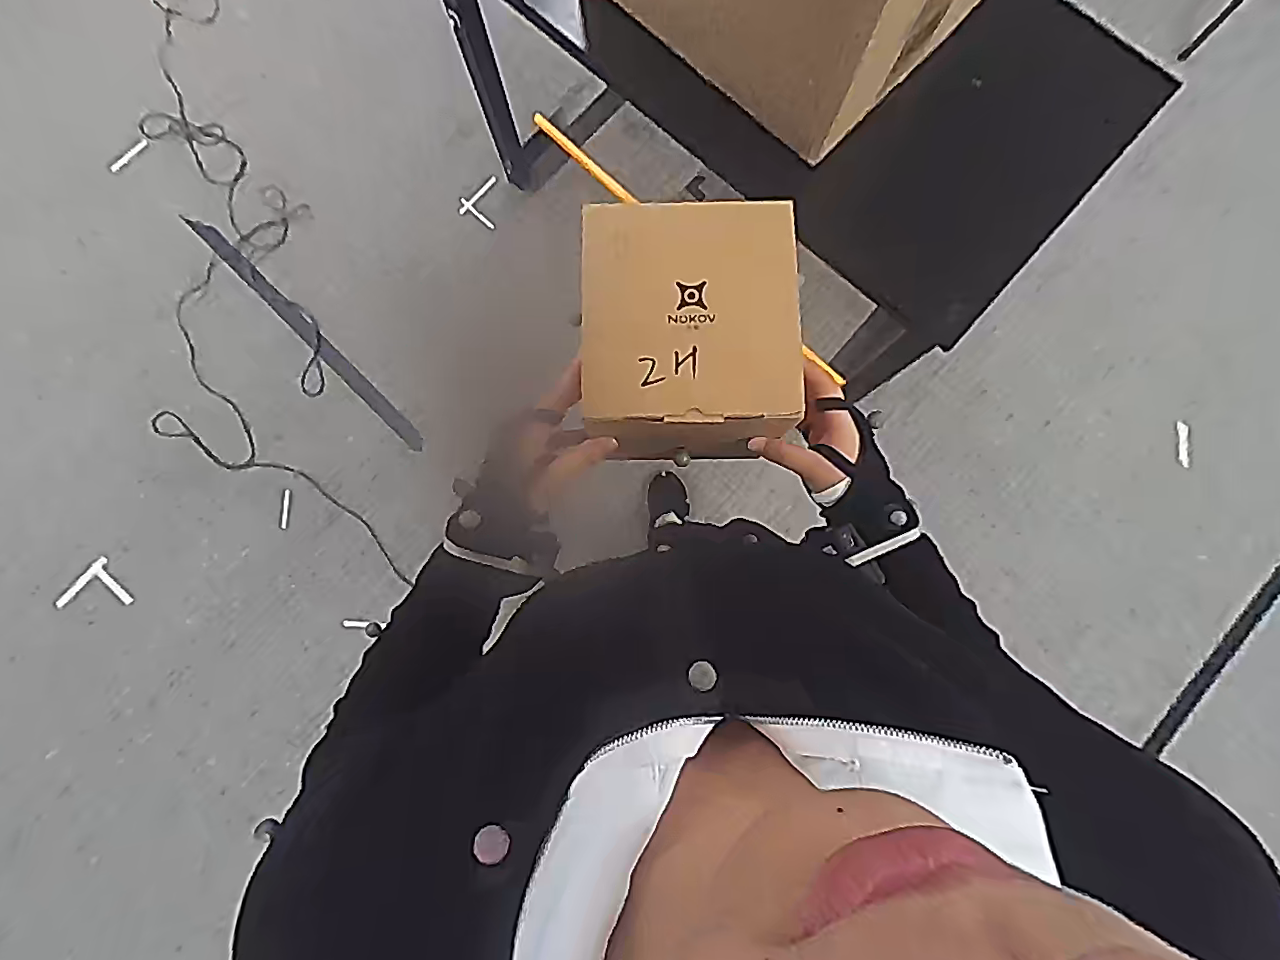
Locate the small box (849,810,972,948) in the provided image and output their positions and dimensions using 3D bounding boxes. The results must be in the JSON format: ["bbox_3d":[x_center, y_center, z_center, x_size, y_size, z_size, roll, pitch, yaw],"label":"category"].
[{"bbox_3d":[0.645,0.955,1.317,0.179,0.176,0.168,-43,84,-4],"label":"small box"}]

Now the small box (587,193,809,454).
[{"bbox_3d":[0.043,-0.126,0.487,0.168,0.176,0.179,-1,82,1],"label":"small box"}]
